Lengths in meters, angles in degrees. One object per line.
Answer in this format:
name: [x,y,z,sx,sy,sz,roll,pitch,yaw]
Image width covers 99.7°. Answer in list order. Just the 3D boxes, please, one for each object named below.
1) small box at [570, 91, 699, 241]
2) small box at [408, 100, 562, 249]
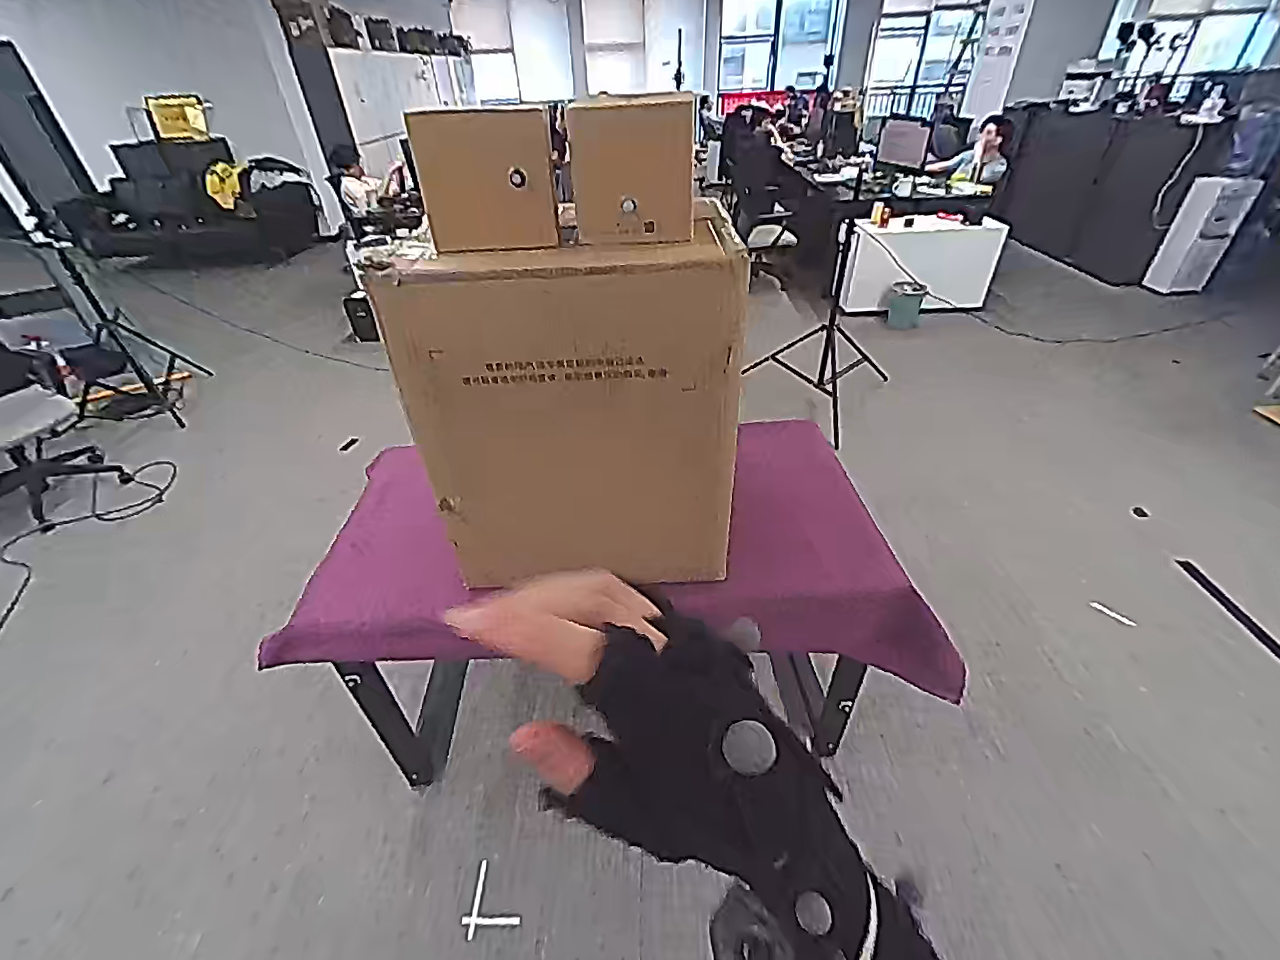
small box: [0.002,-0.459,0.789,0.168,0.176,0.179,0,38,5]
small box: [-0.207,-0.443,0.783,0.179,0.176,0.168,-5,36,-4]
